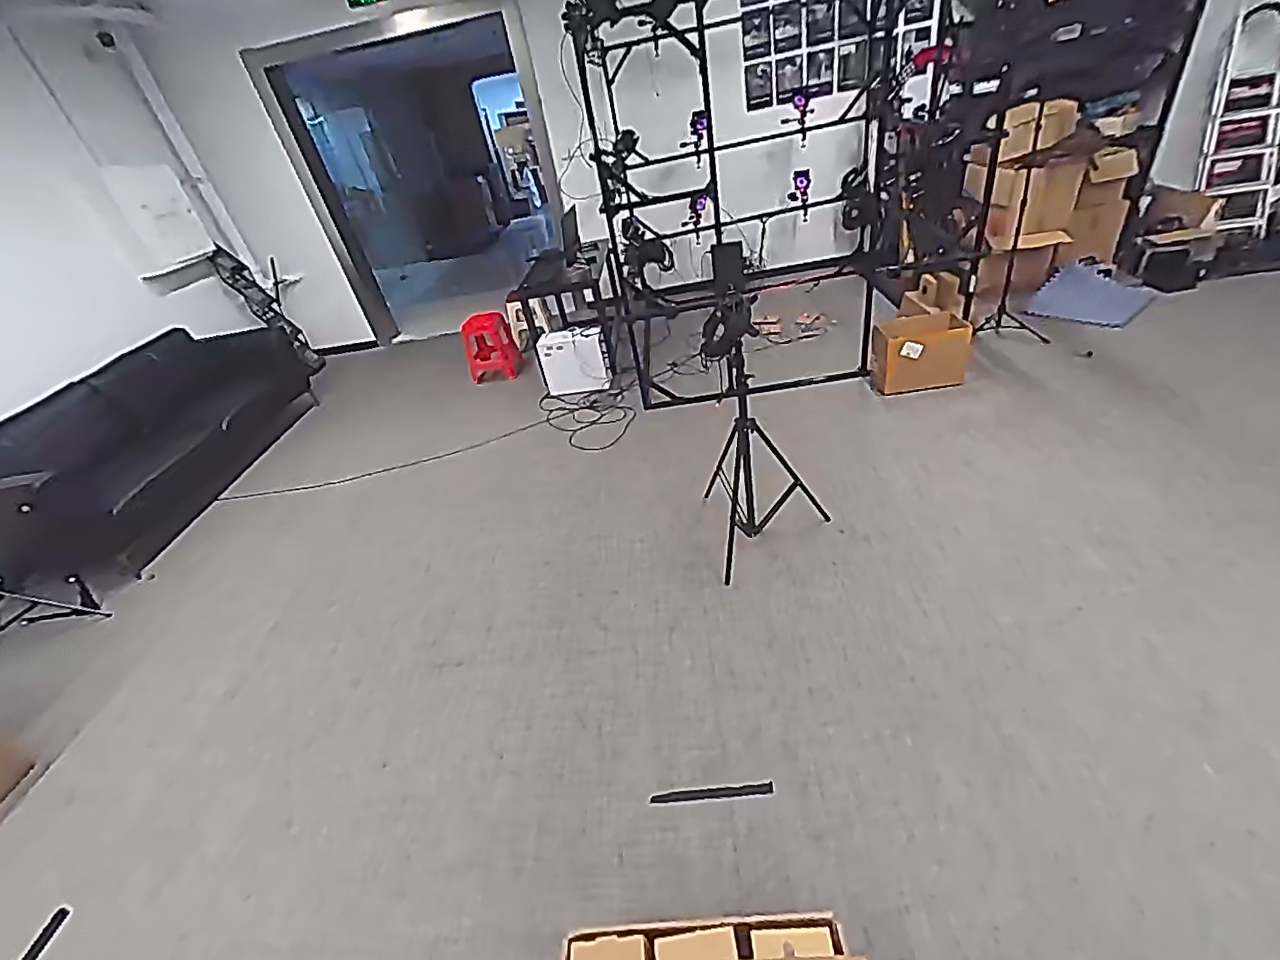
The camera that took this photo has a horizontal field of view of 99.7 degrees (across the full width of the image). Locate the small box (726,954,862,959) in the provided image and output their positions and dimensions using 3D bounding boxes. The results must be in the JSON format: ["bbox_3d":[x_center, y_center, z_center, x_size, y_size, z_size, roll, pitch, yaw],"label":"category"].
[{"bbox_3d":[0.185,0.662,0.618,0.168,0.176,0.179,-5,48,3],"label":"small box"}]
